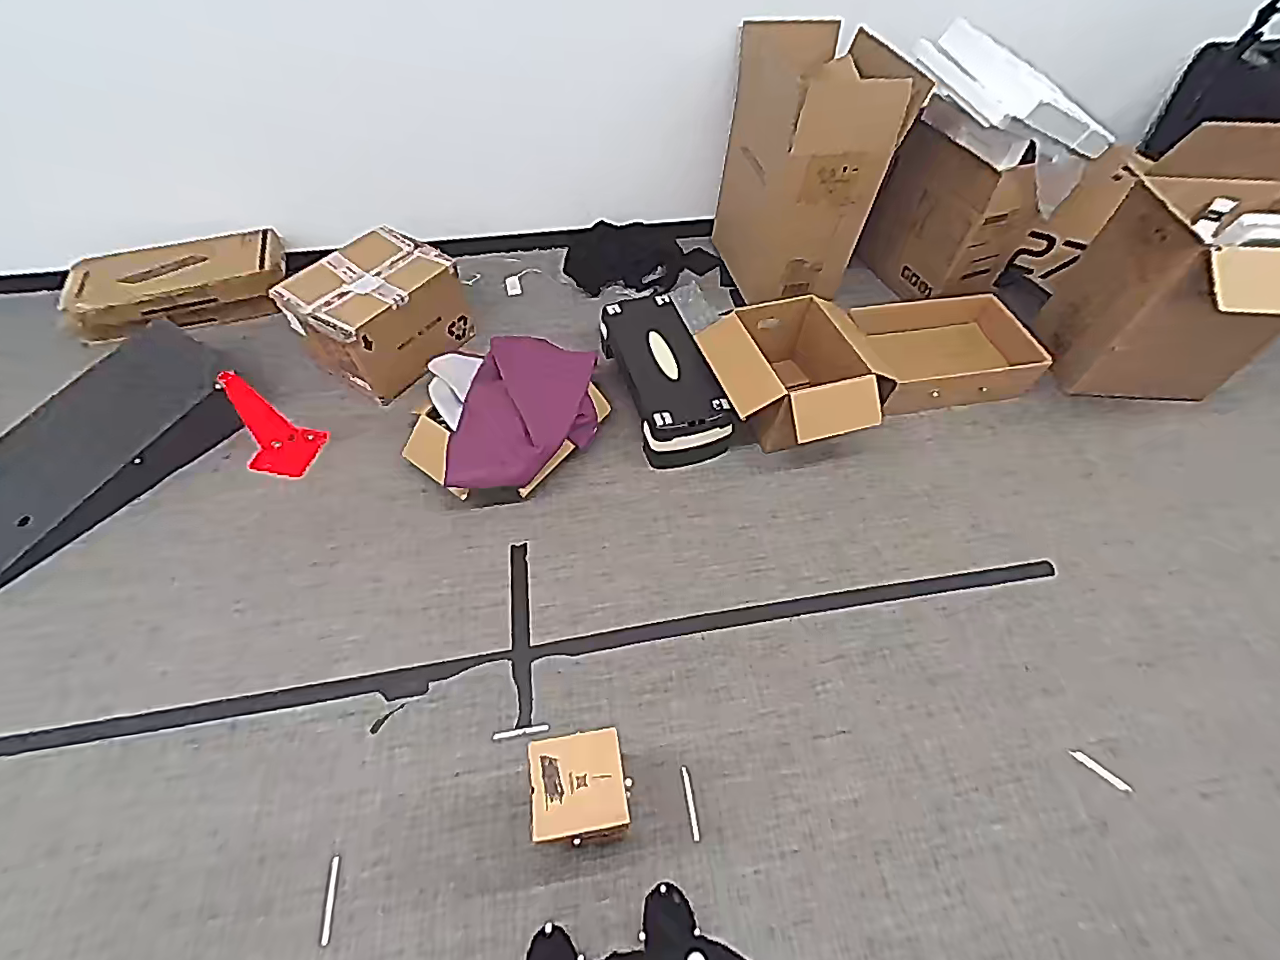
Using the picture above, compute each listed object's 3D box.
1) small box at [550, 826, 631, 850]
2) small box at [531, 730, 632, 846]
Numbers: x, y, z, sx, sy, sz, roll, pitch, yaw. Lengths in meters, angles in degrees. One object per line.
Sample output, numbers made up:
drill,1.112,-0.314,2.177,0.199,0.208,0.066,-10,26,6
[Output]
small box,-0.111,0.707,1.205,0.168,0.176,0.179,-6,56,-5
small box,-0.113,0.612,1.069,0.179,0.176,0.168,-7,55,-7
